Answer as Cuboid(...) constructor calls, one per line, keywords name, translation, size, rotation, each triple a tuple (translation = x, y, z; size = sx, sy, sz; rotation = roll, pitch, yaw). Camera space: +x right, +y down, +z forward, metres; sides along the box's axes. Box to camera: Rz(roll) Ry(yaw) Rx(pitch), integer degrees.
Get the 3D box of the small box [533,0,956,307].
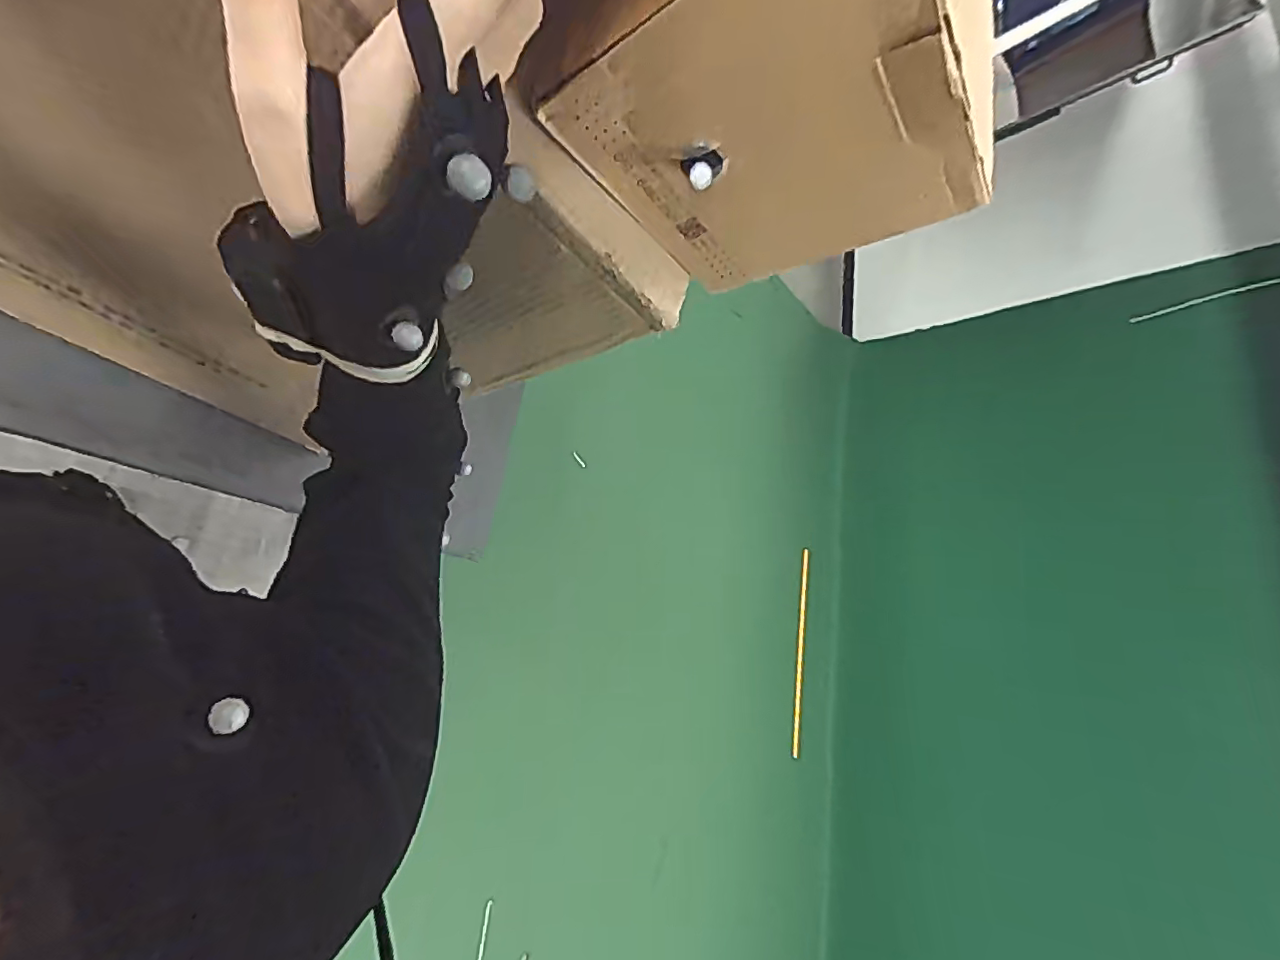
Cuboid(name="small box", translation=(0.064, -0.224, 0.295), size=(0.168, 0.176, 0.179), rotation=(25, 70, -49))
